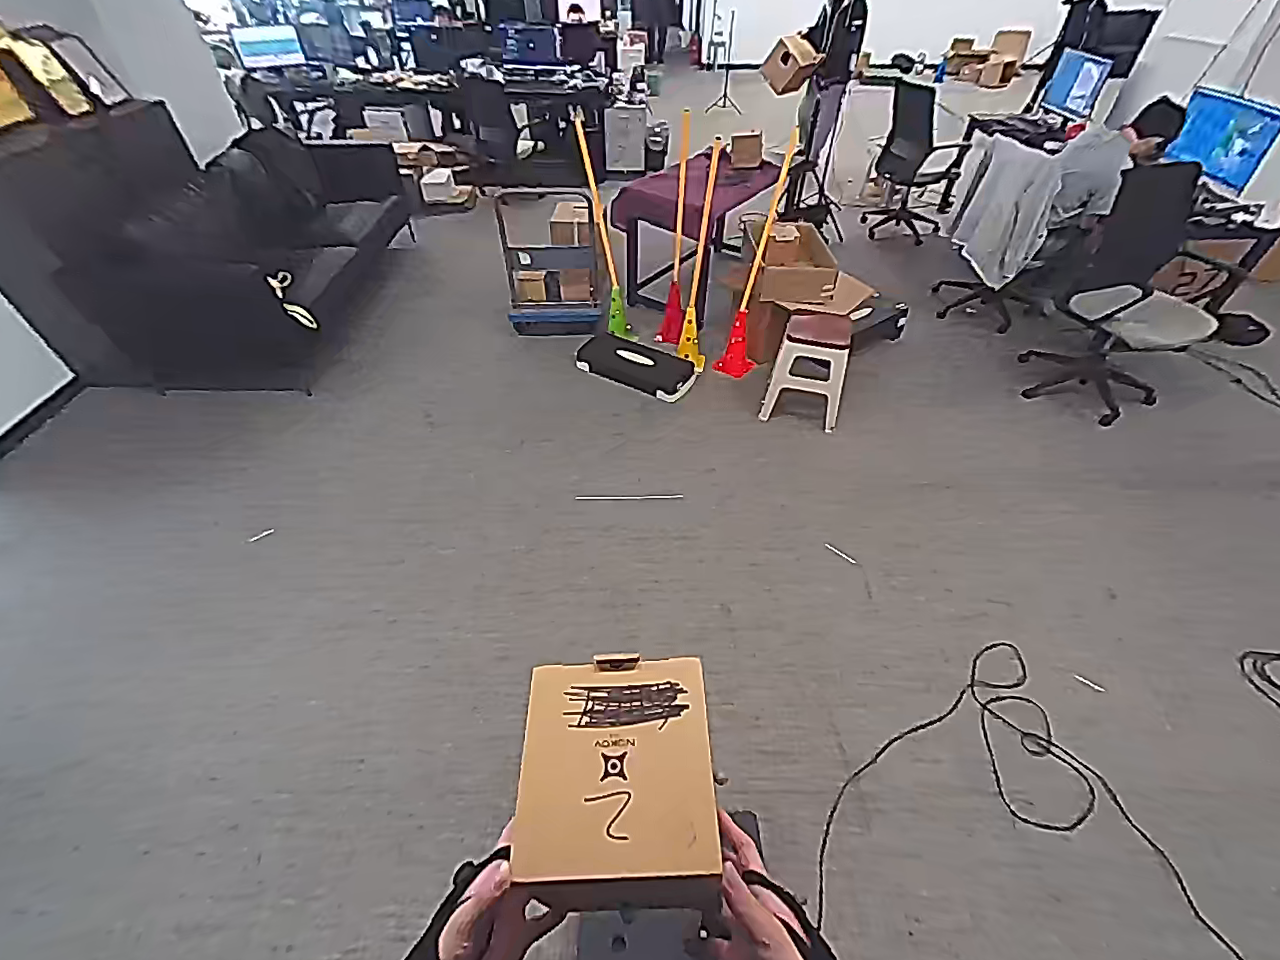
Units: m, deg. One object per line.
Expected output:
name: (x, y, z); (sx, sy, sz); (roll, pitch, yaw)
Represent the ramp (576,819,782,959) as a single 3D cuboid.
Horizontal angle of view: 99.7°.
ramp: (0.093, 1.248, 1.119); (0.509, 0.206, 0.991); (-3, 44, -1)
